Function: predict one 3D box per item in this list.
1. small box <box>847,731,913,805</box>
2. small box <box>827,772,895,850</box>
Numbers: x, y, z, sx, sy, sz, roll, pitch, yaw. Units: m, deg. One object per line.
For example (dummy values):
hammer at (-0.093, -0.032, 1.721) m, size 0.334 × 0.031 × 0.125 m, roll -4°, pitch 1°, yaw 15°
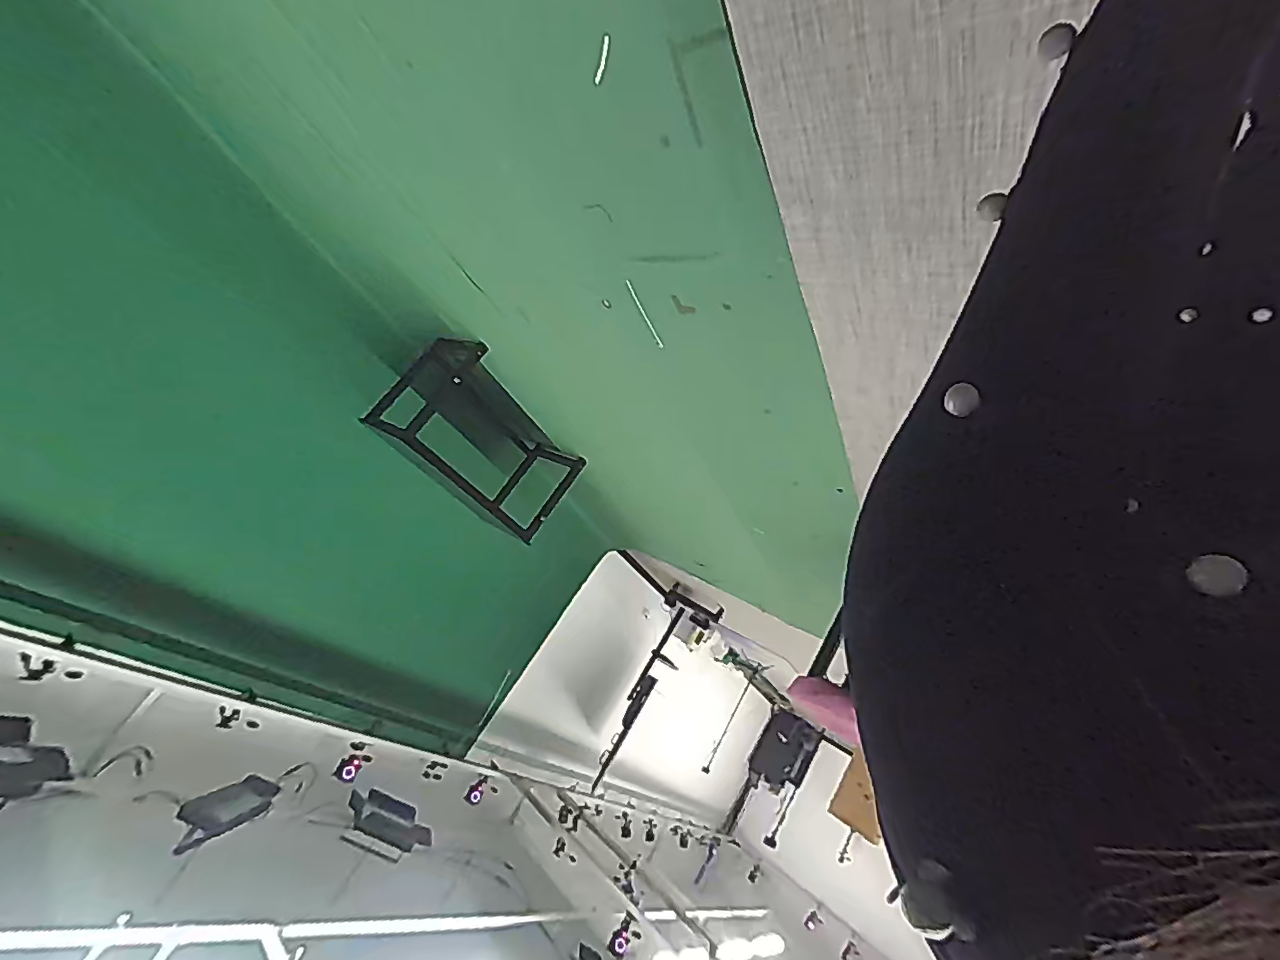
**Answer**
small box at (0.885, 1.056, 1.985) m, size 0.168 × 0.176 × 0.179 m, roll 20°, pitch 157°, yaw 39°
small box at (0.798, 1.187, 1.942) m, size 0.168 × 0.176 × 0.179 m, roll 19°, pitch 157°, yaw 40°
